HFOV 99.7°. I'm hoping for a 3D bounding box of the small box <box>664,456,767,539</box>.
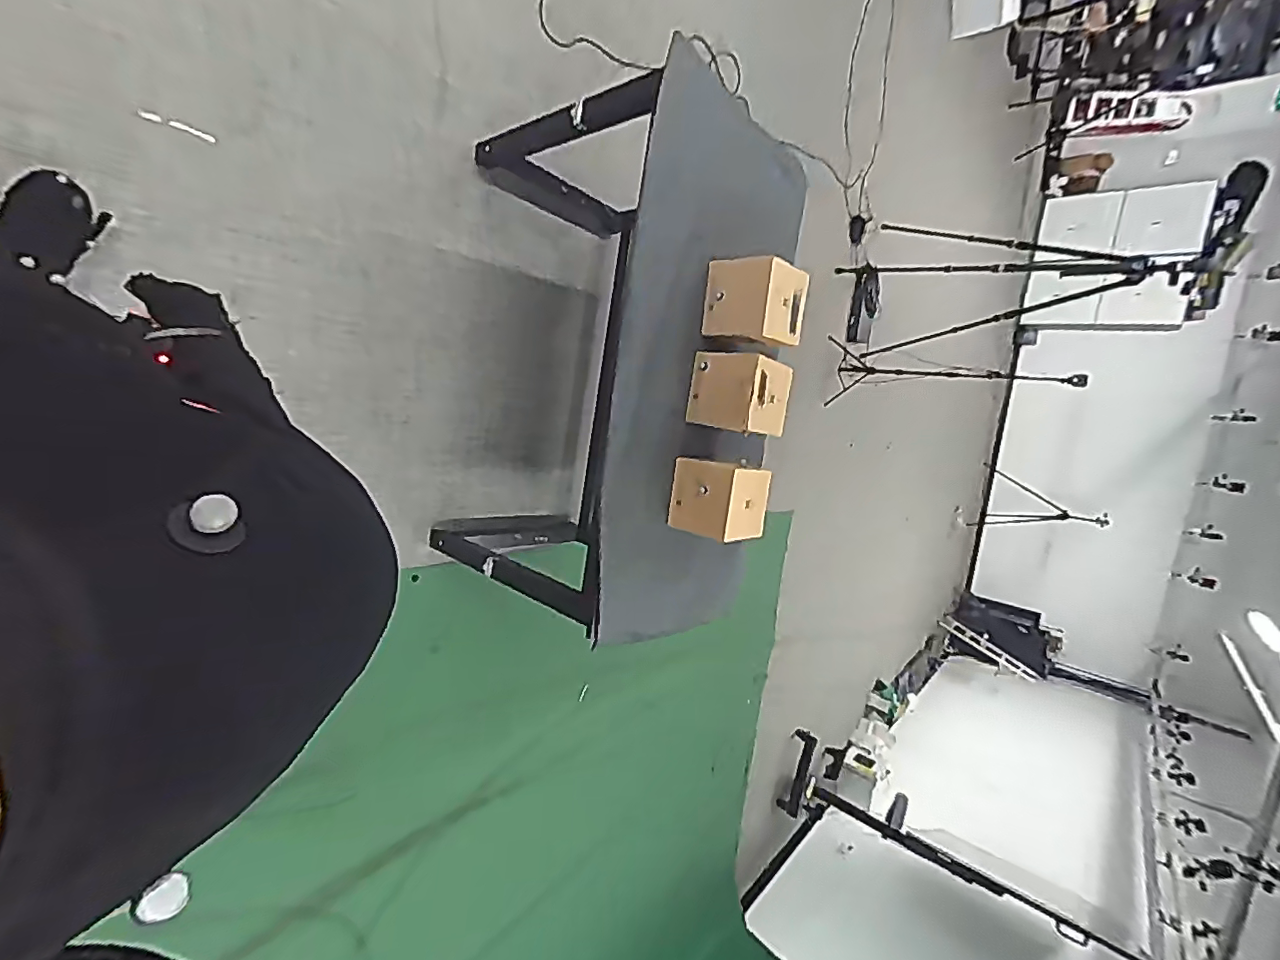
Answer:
[{"bbox_3d":[0.179,0.038,1.299,0.179,0.176,0.168,-1,102,-50],"label":"small box"}]
